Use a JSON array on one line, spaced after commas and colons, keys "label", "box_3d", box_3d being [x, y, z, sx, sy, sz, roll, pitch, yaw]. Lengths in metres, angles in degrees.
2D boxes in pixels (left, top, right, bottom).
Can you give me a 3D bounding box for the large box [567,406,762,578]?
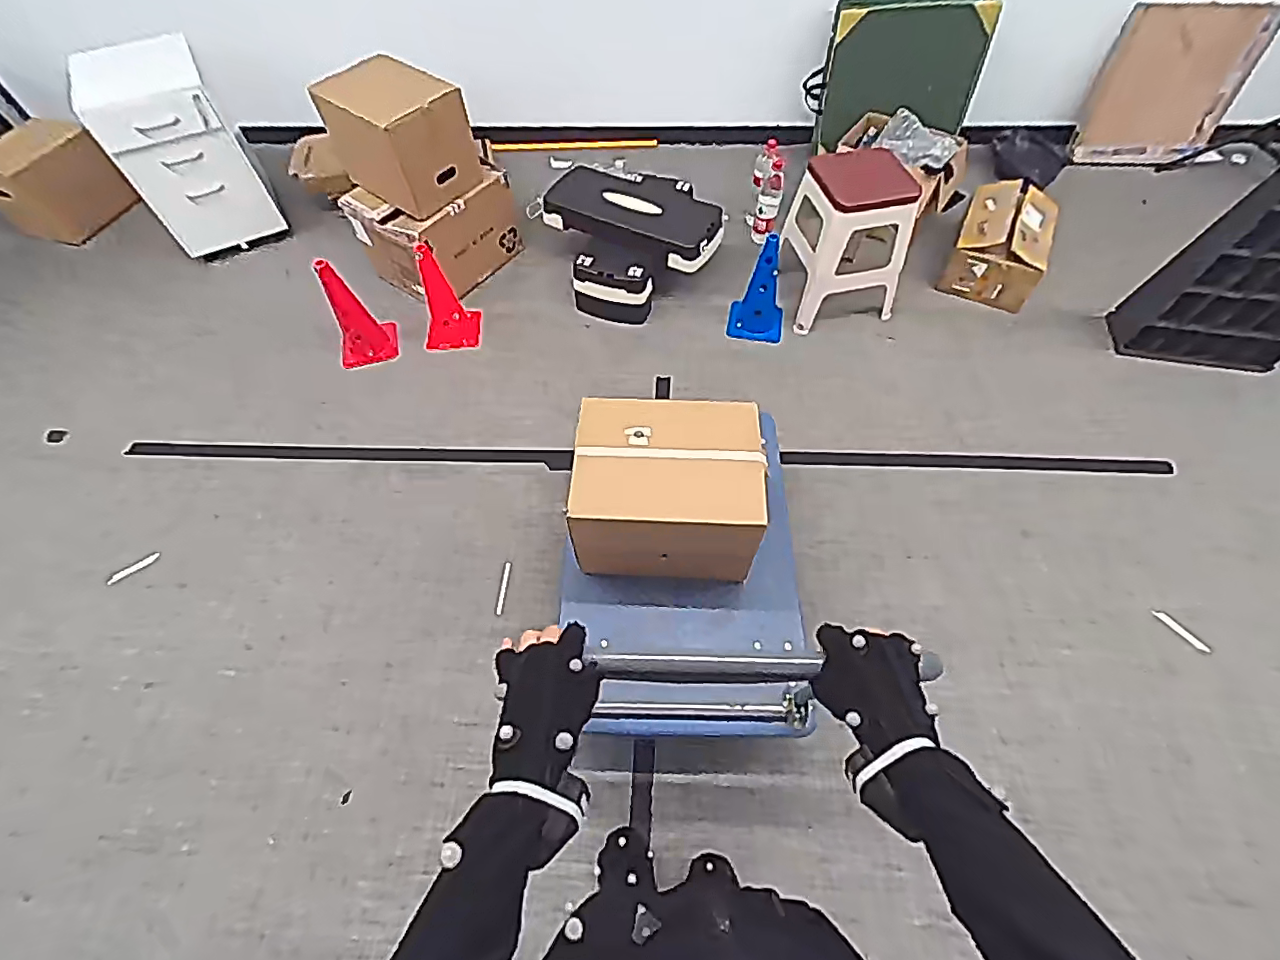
[{"label": "large box", "box_3d": [0.060, 0.038, 1.296, 0.408, 0.320, 0.320, 1, 59, 3]}]
